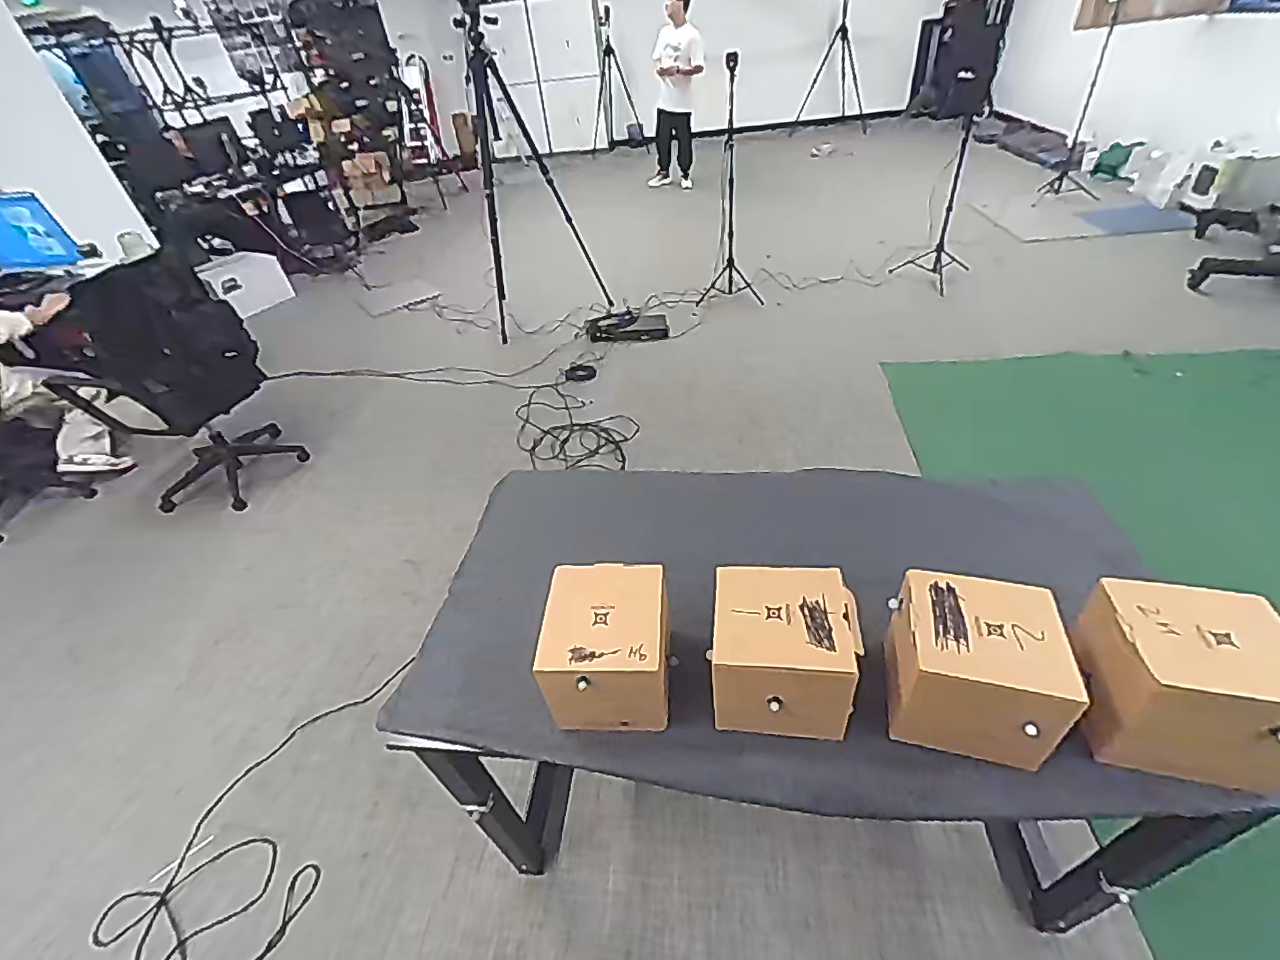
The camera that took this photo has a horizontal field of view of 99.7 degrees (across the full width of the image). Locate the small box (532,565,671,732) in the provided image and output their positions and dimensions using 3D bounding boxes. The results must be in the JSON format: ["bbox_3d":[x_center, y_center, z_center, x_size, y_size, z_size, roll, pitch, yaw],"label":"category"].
[{"bbox_3d":[-0.044,0.245,0.799,0.168,0.176,0.179,-2,40,8],"label":"small box"}]
